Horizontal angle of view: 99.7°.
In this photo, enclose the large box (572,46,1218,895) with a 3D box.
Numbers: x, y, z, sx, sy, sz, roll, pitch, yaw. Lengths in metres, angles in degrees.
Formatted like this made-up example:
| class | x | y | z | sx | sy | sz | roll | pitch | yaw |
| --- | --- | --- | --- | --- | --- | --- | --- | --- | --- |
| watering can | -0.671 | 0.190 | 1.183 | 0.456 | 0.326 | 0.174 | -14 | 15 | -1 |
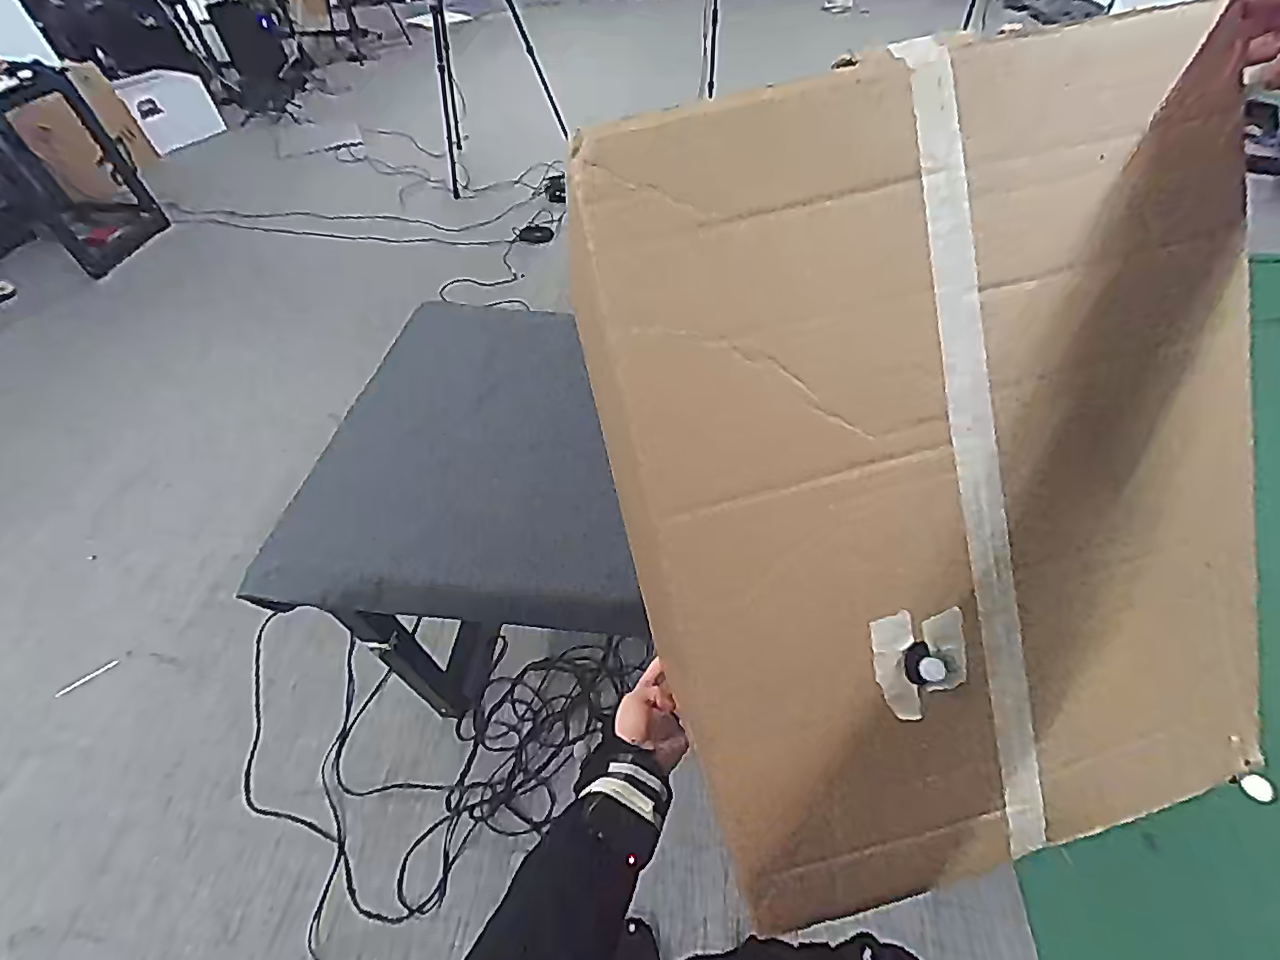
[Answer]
| class | x | y | z | sx | sy | sz | roll | pitch | yaw |
| --- | --- | --- | --- | --- | --- | --- | --- | --- | --- |
| large box | 0.150 | -0.012 | 0.433 | 0.320 | 0.408 | 0.320 | -15 | 12 | -5 |
